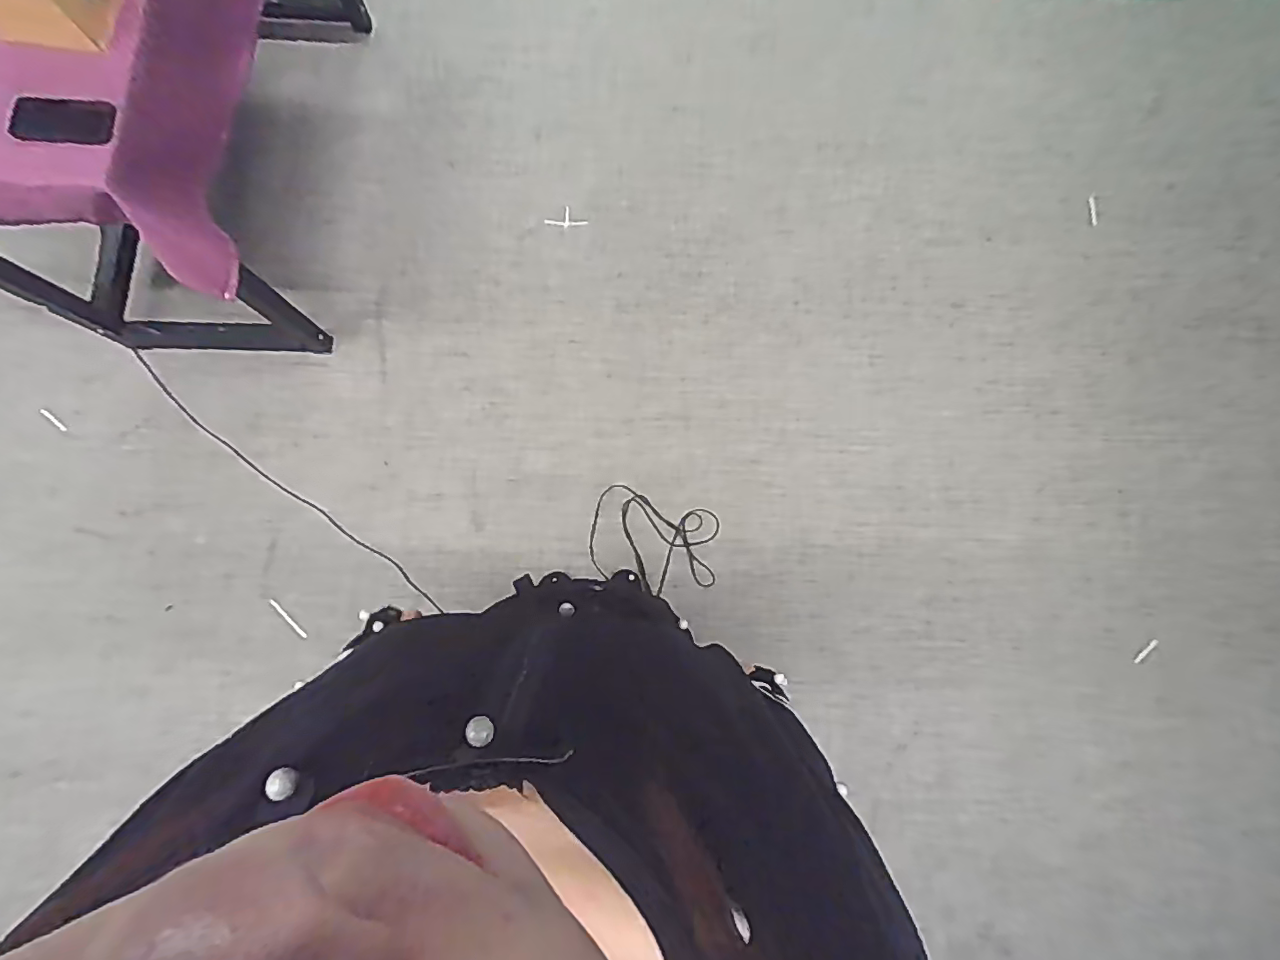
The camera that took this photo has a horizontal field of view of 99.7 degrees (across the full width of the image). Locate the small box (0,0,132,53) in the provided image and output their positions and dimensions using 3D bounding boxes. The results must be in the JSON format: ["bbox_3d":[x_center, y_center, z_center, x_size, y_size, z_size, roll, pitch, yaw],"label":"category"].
[{"bbox_3d":[-0.974,-0.824,0.855,0.179,0.176,0.168,6,80,-2],"label":"small box"}]
